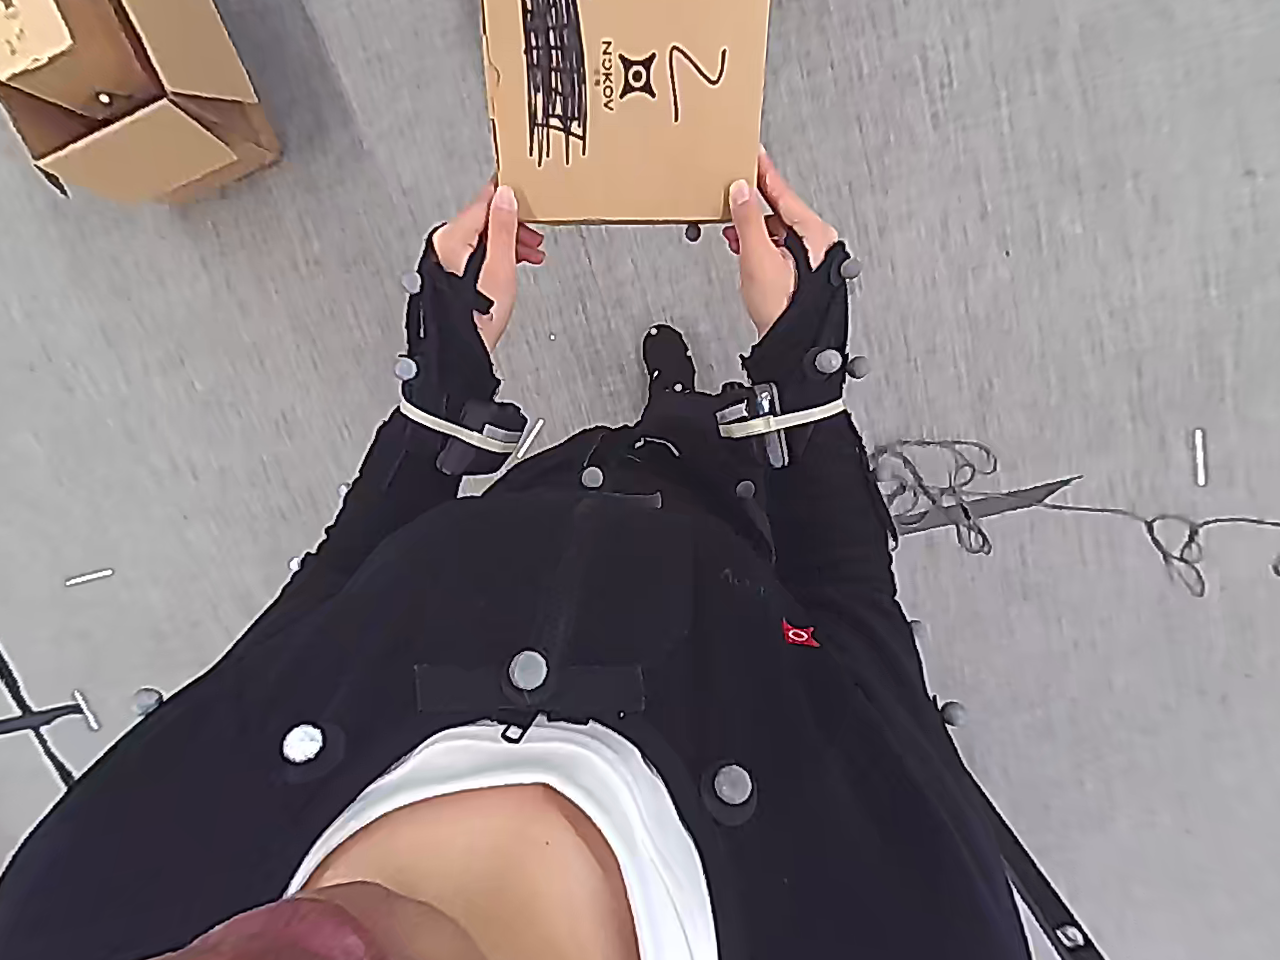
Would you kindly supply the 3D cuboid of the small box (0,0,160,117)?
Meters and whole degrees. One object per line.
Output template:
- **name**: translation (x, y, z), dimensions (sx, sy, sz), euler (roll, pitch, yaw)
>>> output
- **small box**: translation (-1.061, -0.820, 0.997), dimensions (0.168, 0.176, 0.179), euler (-16, 102, 8)
